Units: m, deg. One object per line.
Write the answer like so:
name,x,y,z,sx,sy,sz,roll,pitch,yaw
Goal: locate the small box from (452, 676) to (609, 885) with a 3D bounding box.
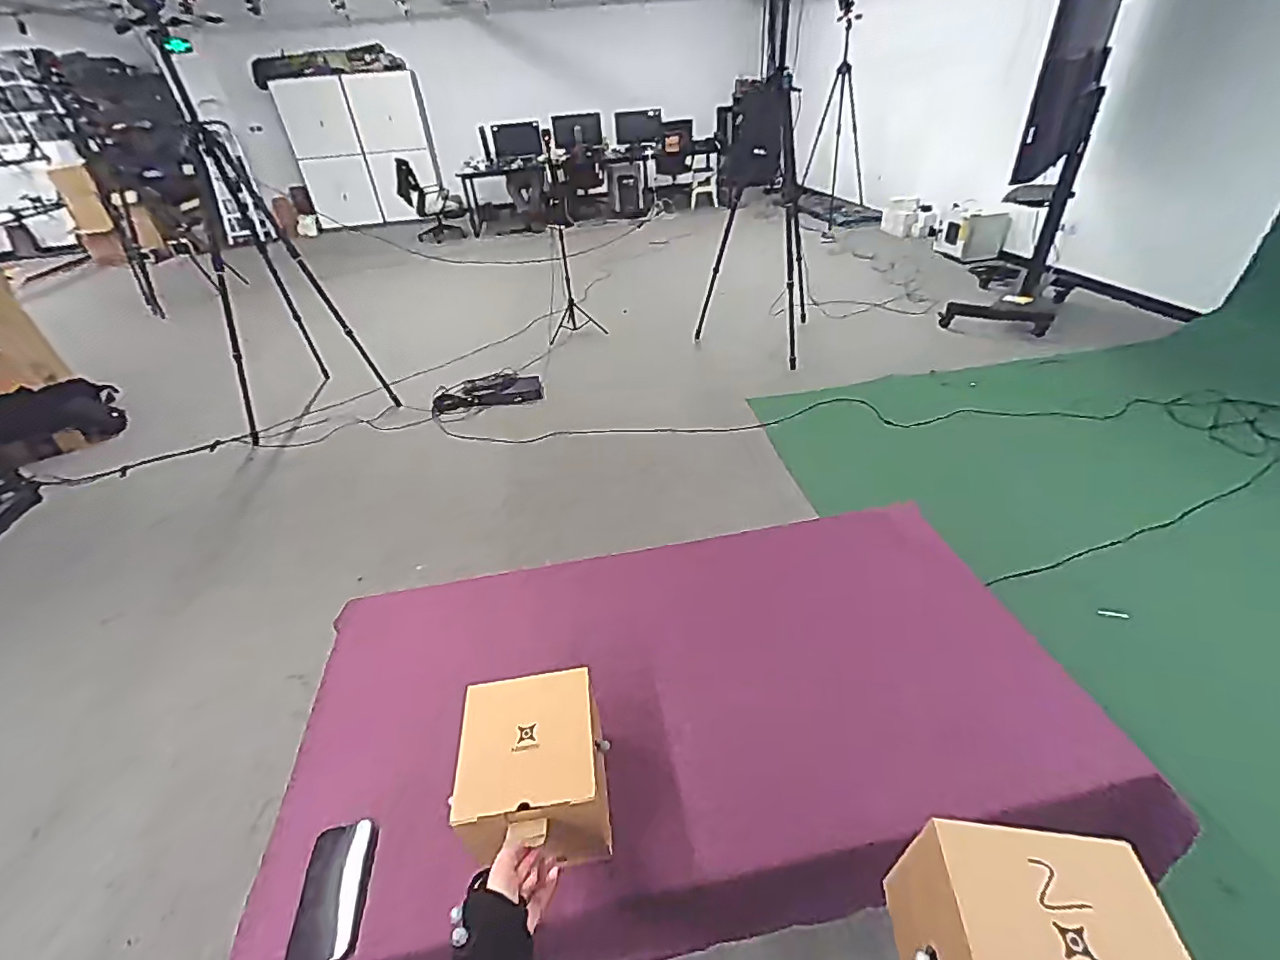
small box,-0.133,0.390,0.711,0.168,0.176,0.179,-7,36,-4
